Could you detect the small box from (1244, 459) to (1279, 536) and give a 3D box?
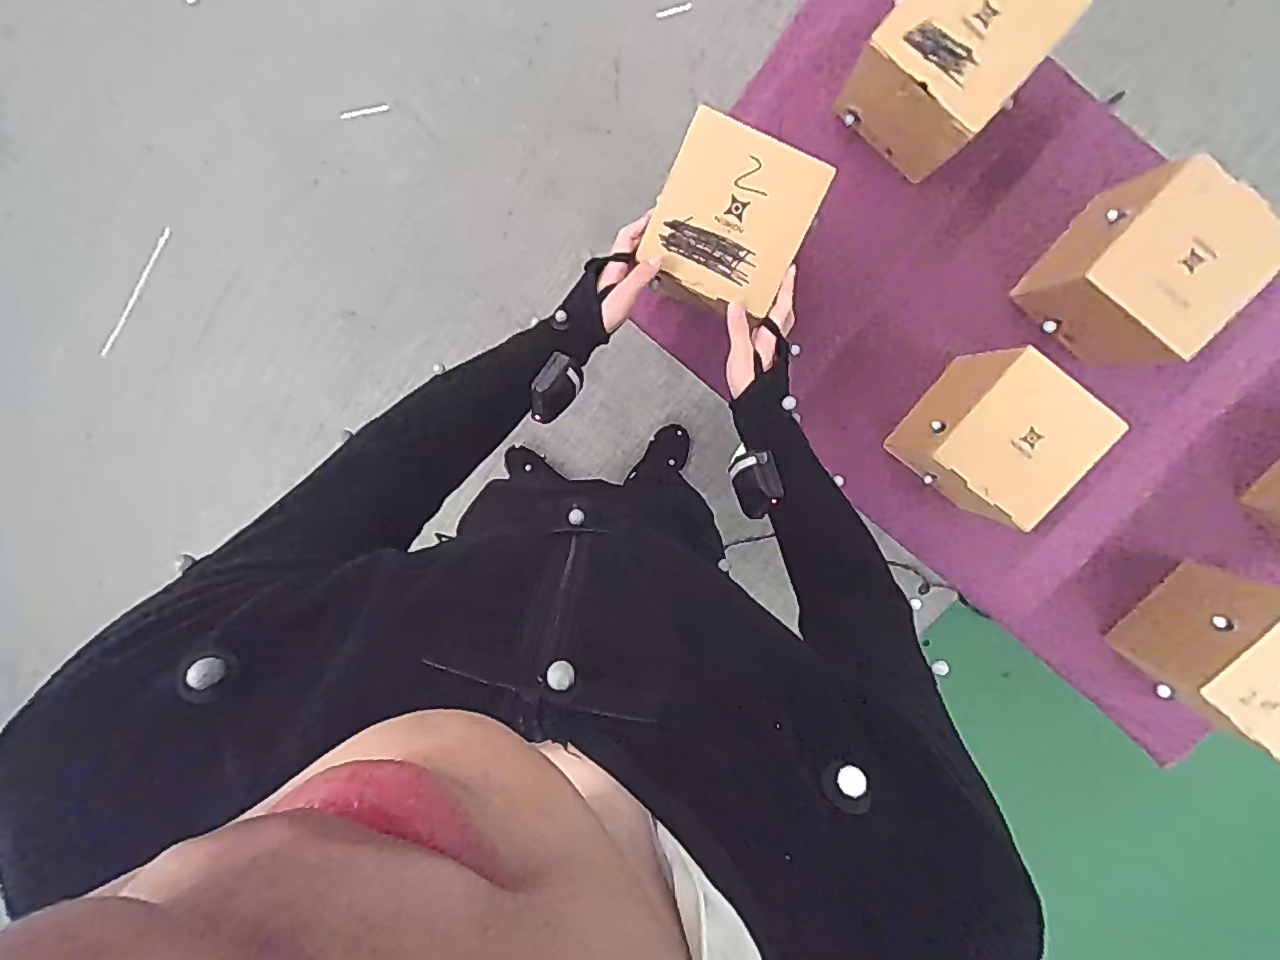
[{"bbox_3d":[1.014,0.024,0.730,0.168,0.176,0.179,38,101,-2],"label":"small box"}]

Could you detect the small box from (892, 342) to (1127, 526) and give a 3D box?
[{"bbox_3d":[0.493,-0.069,0.756,0.168,0.176,0.179,38,101,-3],"label":"small box"}]

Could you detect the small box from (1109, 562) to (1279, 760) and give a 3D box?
[{"bbox_3d":[0.852,0.245,0.779,0.168,0.176,0.179,40,100,-2],"label":"small box"}]

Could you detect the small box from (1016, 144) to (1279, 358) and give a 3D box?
[{"bbox_3d":[0.652,-0.279,0.706,0.168,0.176,0.179,39,102,-2],"label":"small box"}]

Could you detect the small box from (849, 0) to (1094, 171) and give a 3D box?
[{"bbox_3d":[0.388,-0.533,0.676,0.168,0.176,0.179,41,102,-4],"label":"small box"}]
